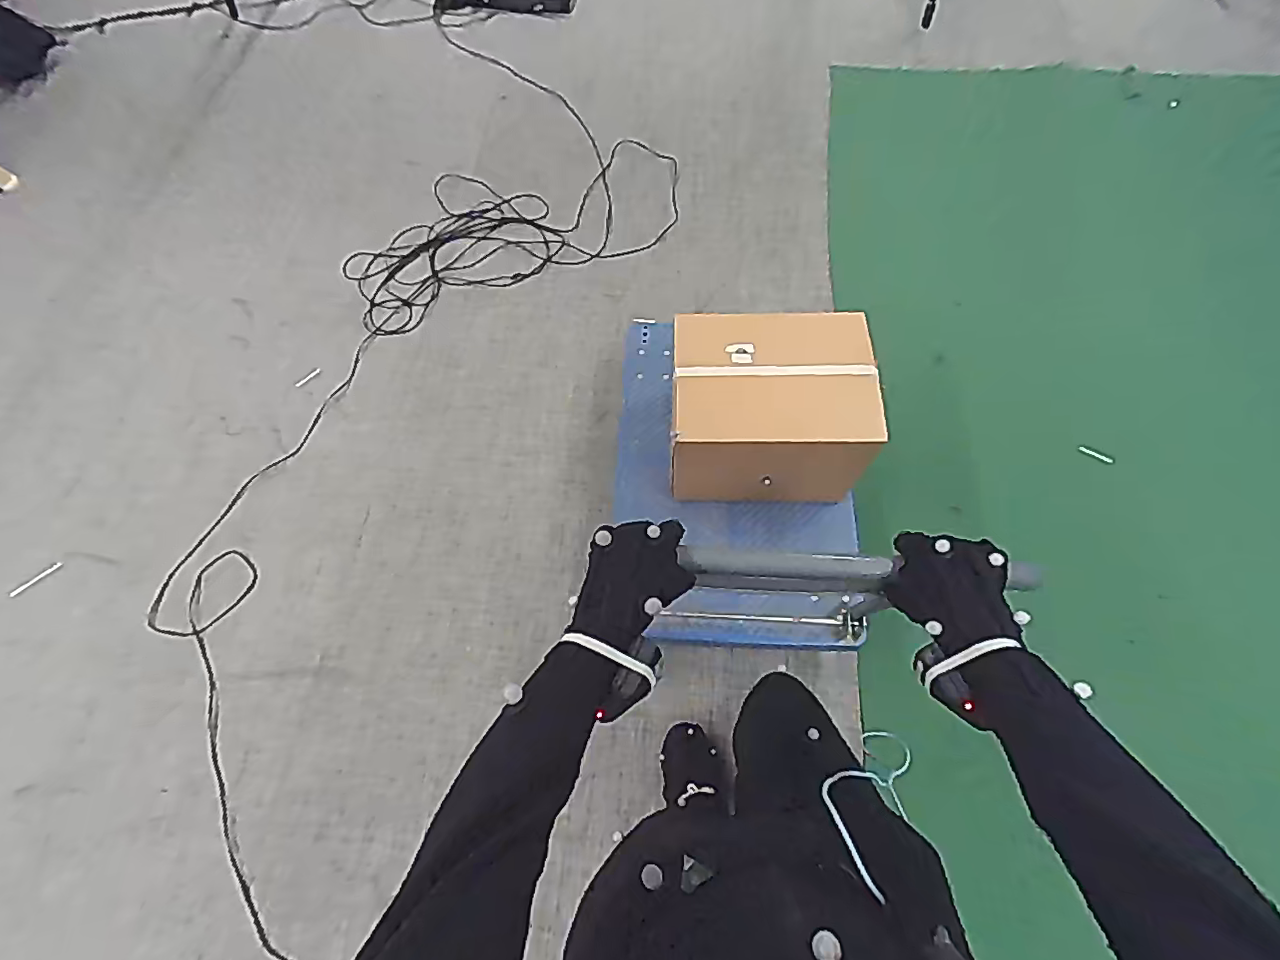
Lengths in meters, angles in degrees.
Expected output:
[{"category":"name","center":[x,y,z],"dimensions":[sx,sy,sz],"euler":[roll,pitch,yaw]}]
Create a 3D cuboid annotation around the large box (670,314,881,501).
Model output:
[{"category":"large box","center":[0.277,-0.149,1.243],"dimensions":[0.408,0.320,0.320],"euler":[-1,66,4]}]
